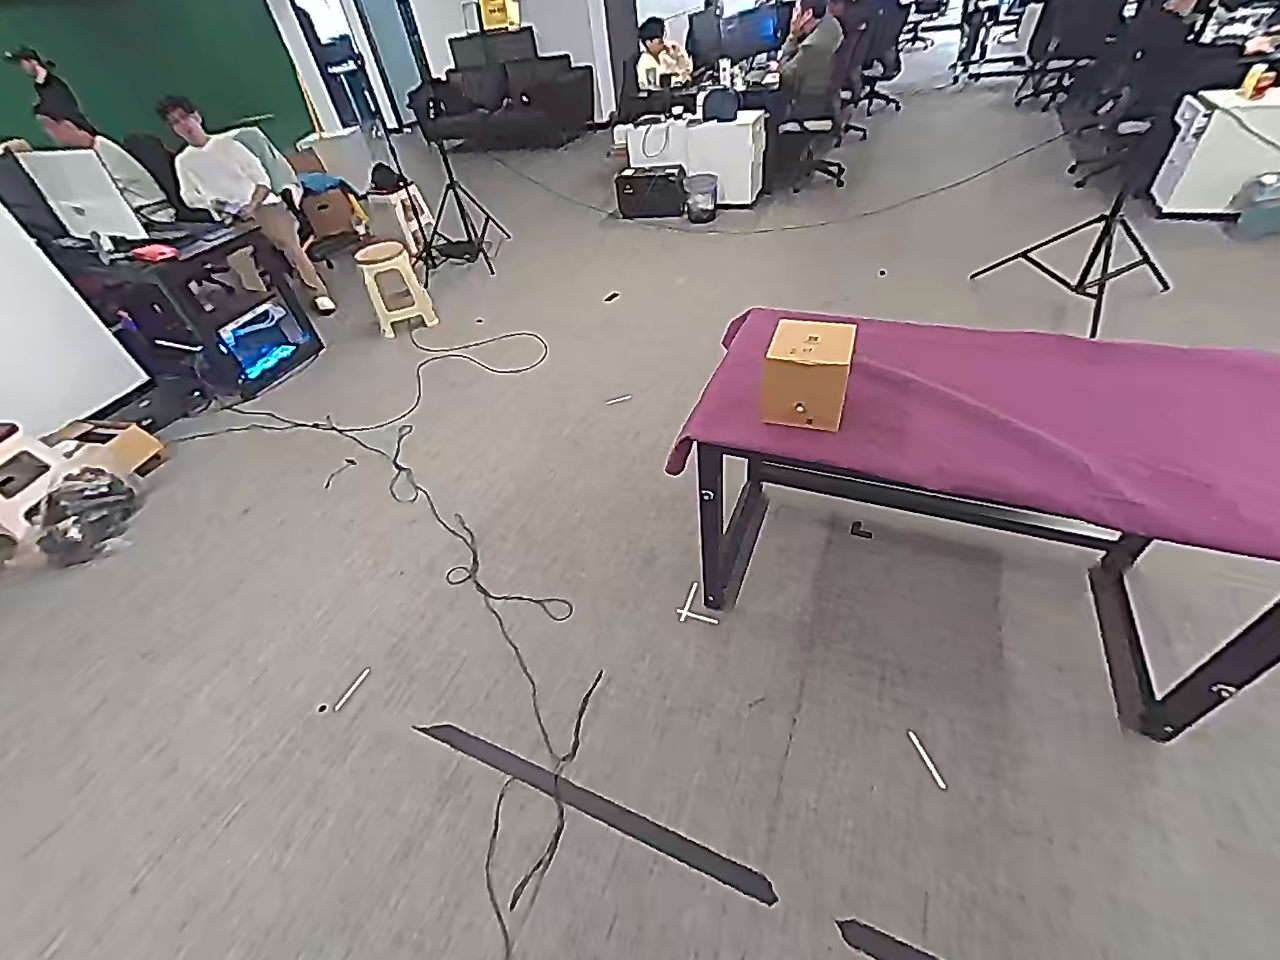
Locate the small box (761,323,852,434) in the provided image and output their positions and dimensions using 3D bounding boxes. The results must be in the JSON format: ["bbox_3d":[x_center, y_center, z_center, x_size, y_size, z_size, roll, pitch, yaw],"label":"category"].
[{"bbox_3d":[0.367,-0.229,1.207,0.168,0.176,0.179,10,45,19],"label":"small box"}]
